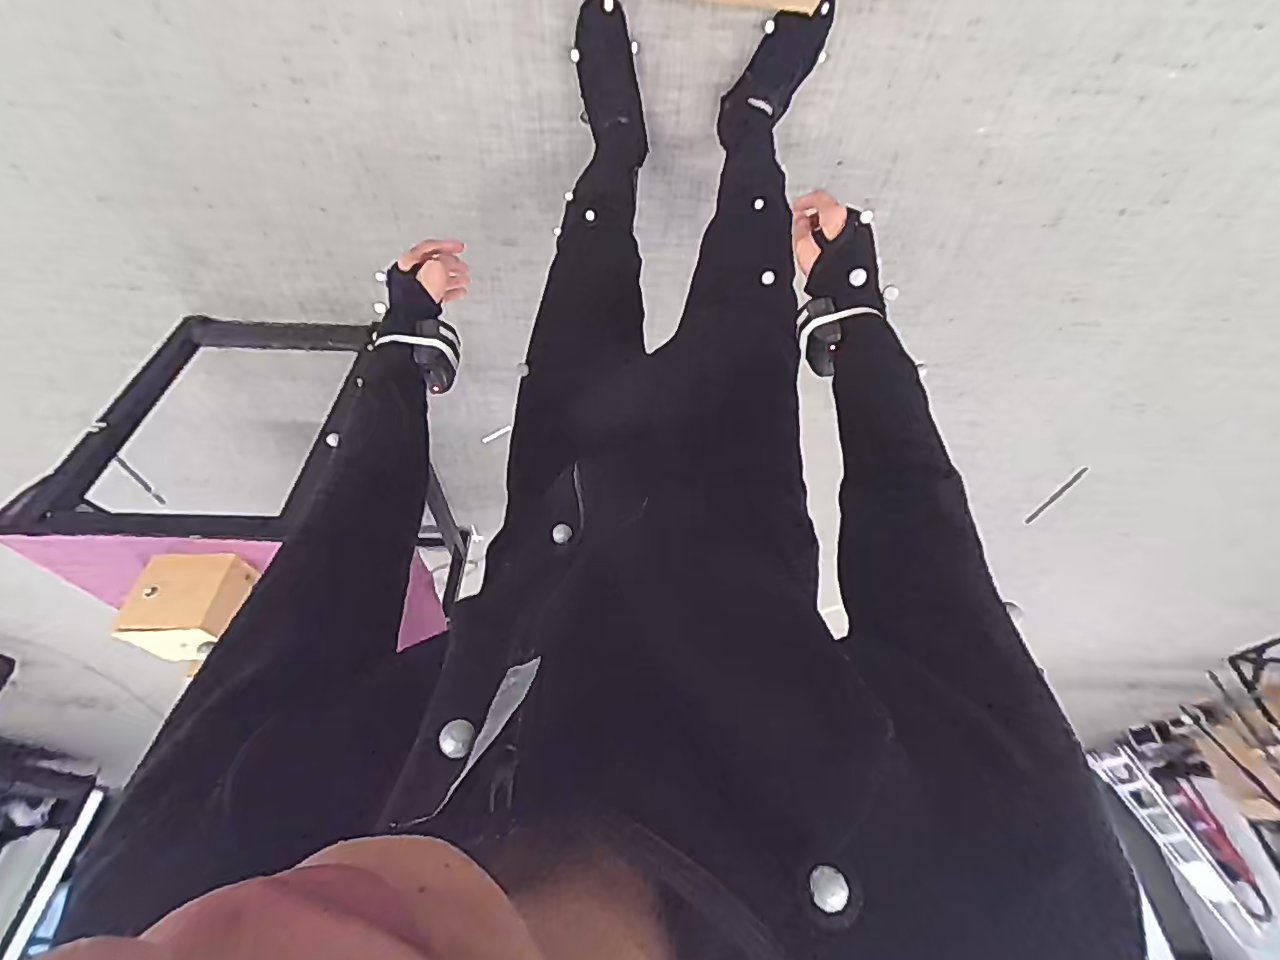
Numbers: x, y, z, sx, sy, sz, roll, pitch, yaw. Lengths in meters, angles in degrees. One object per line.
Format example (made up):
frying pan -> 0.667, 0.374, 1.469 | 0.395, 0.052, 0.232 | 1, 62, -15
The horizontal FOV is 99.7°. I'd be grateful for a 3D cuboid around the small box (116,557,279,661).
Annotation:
small box -> -0.919, 0.271, 1.145 | 0.179, 0.176, 0.168 | 0, 143, 0
